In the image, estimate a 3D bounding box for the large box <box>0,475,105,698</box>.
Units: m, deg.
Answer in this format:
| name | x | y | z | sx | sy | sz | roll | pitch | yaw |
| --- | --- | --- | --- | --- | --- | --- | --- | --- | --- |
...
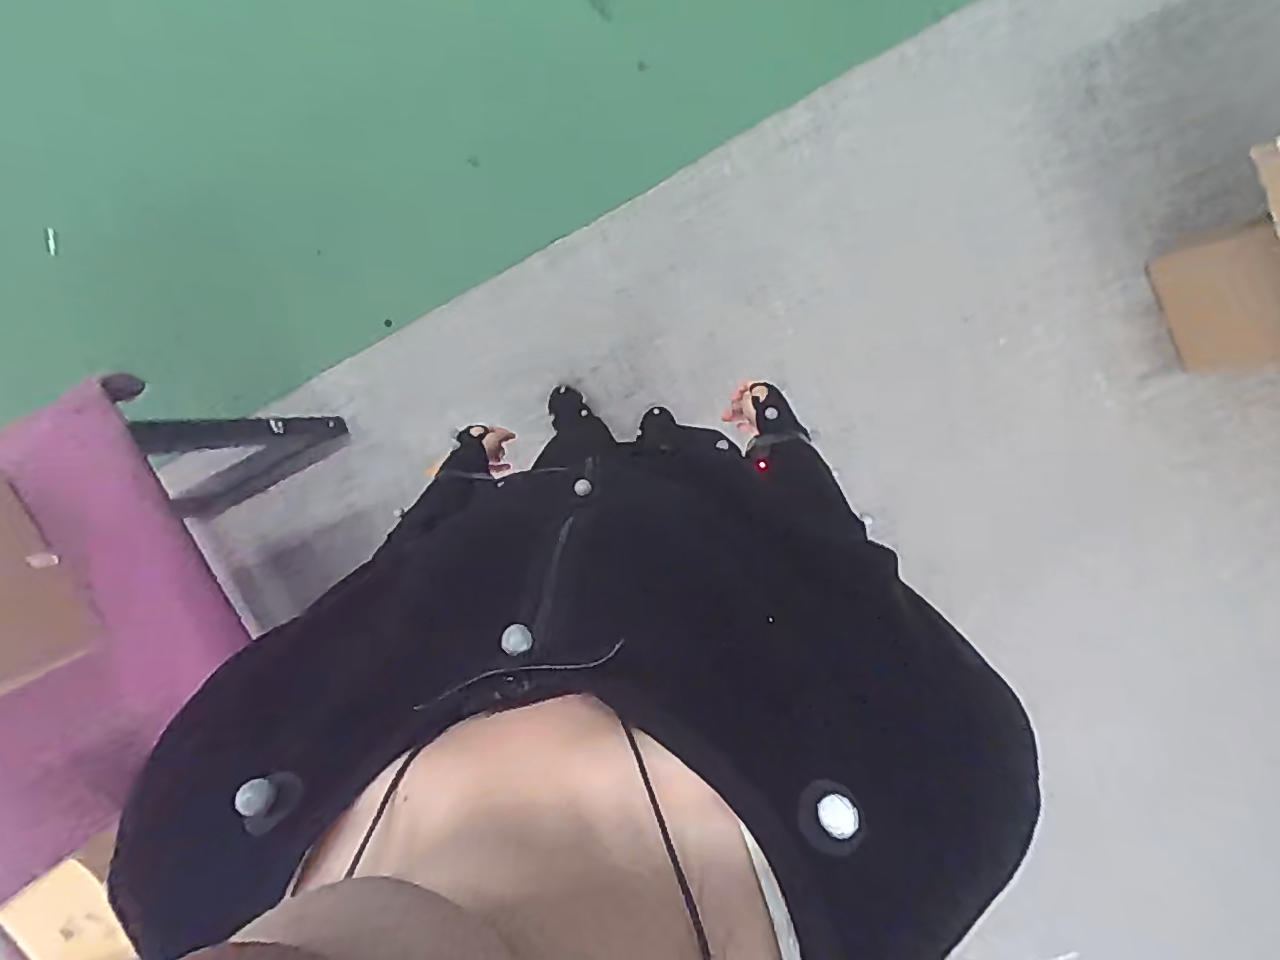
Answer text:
| name | x | y | z | sx | sy | sz | roll | pitch | yaw |
| --- | --- | --- | --- | --- | --- | --- | --- | --- | --- |
| large box | -1.096 | 0.228 | 0.721 | 0.408 | 0.320 | 0.320 | -27 | 97 | 5 |
